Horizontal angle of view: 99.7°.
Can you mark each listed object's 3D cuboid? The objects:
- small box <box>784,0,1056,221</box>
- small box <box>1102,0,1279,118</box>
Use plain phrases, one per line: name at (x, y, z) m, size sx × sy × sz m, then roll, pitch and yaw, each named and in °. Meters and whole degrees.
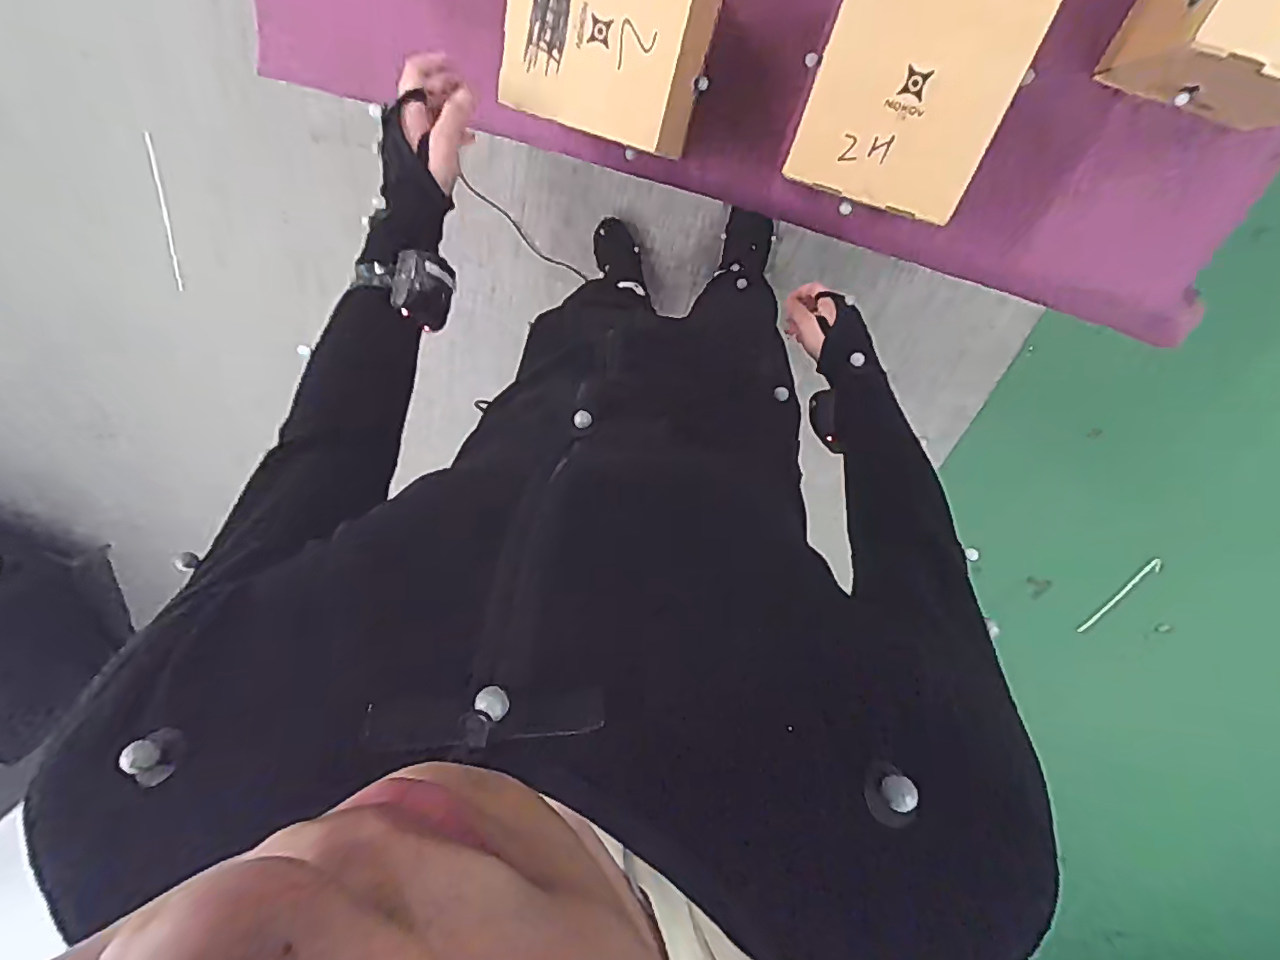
small box at (0.253, -0.382, 0.545) m, size 0.168 × 0.176 × 0.179 m, roll 20°, pitch 121°, yaw 4°
small box at (0.546, -0.426, 0.444) m, size 0.168 × 0.176 × 0.179 m, roll 21°, pitch 123°, yaw 3°
